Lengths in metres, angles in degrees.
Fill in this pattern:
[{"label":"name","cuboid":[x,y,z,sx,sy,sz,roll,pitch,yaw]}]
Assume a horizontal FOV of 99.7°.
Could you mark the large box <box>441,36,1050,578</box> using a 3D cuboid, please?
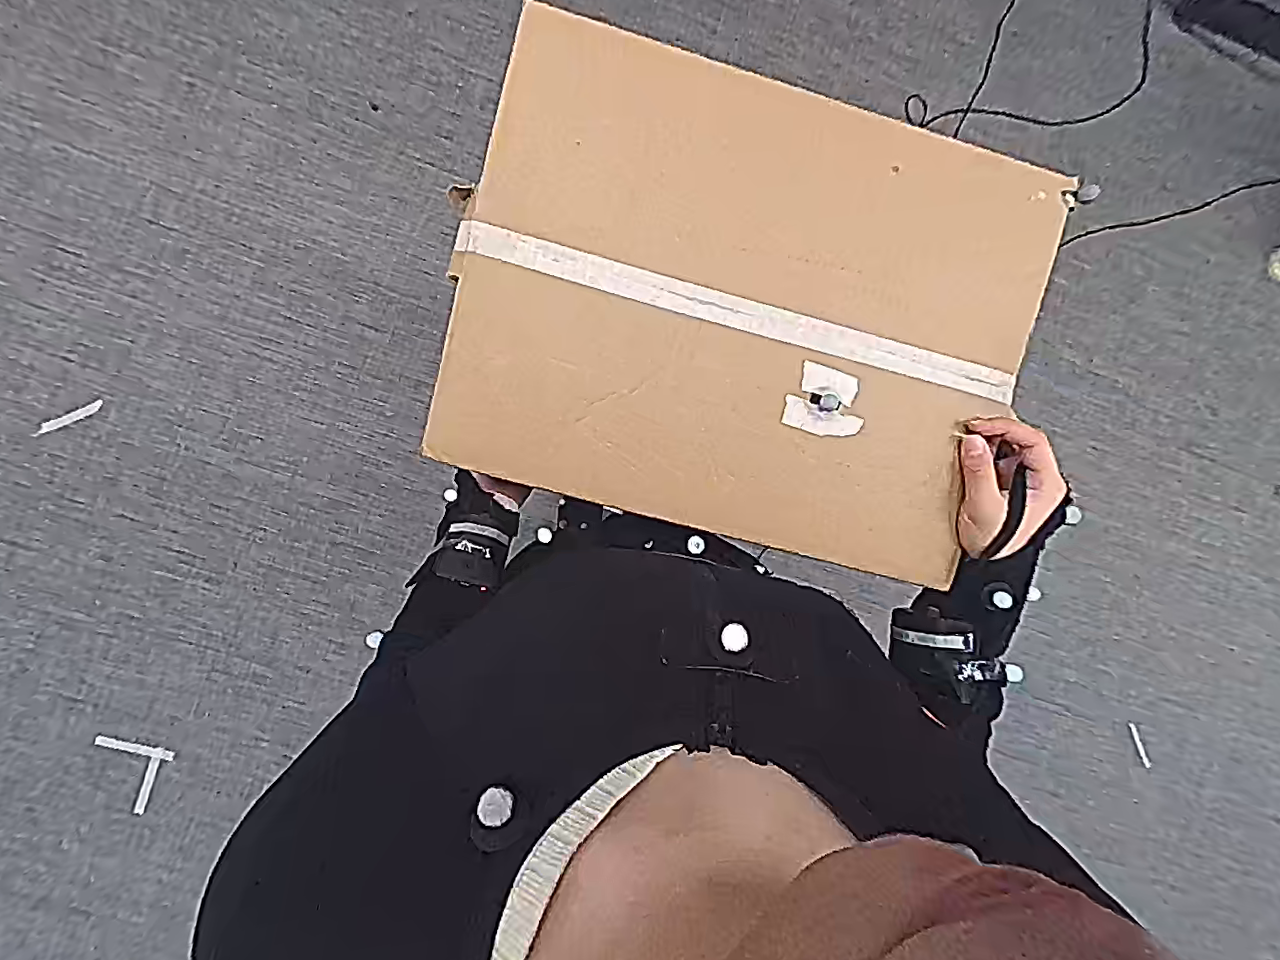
[{"label":"large box","cuboid":[0.069,-0.126,0.542,0.408,0.320,0.320,14,95,-6]}]
